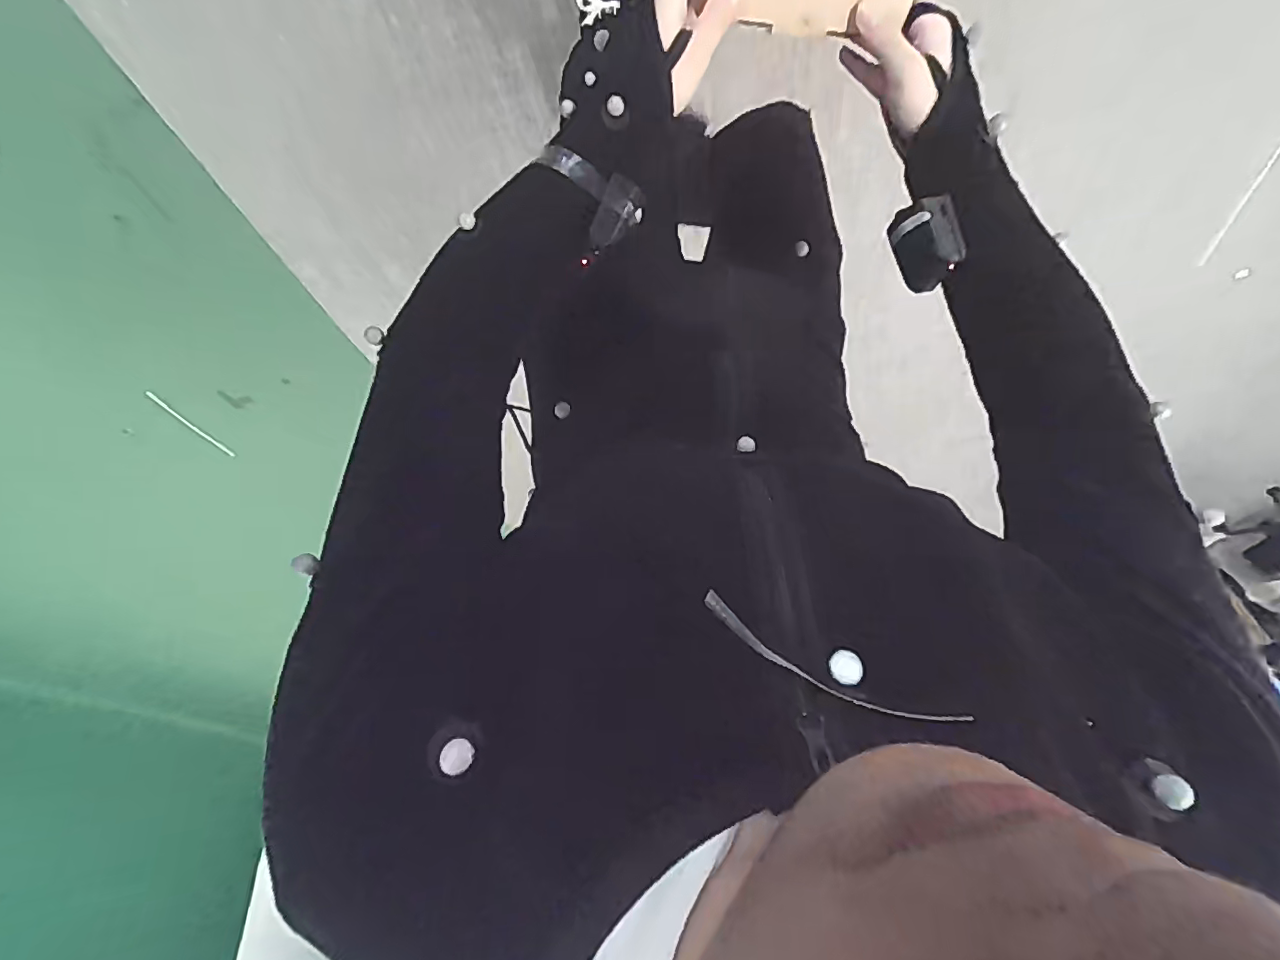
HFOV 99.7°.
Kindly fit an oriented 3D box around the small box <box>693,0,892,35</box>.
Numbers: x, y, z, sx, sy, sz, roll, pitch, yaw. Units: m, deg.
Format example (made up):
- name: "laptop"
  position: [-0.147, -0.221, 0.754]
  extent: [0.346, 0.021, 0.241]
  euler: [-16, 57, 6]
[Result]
- name: "small box"
  position: [0.135, -0.495, 0.423]
  extent: [0.168, 0.176, 0.179]
  euler: [6, 143, -4]
